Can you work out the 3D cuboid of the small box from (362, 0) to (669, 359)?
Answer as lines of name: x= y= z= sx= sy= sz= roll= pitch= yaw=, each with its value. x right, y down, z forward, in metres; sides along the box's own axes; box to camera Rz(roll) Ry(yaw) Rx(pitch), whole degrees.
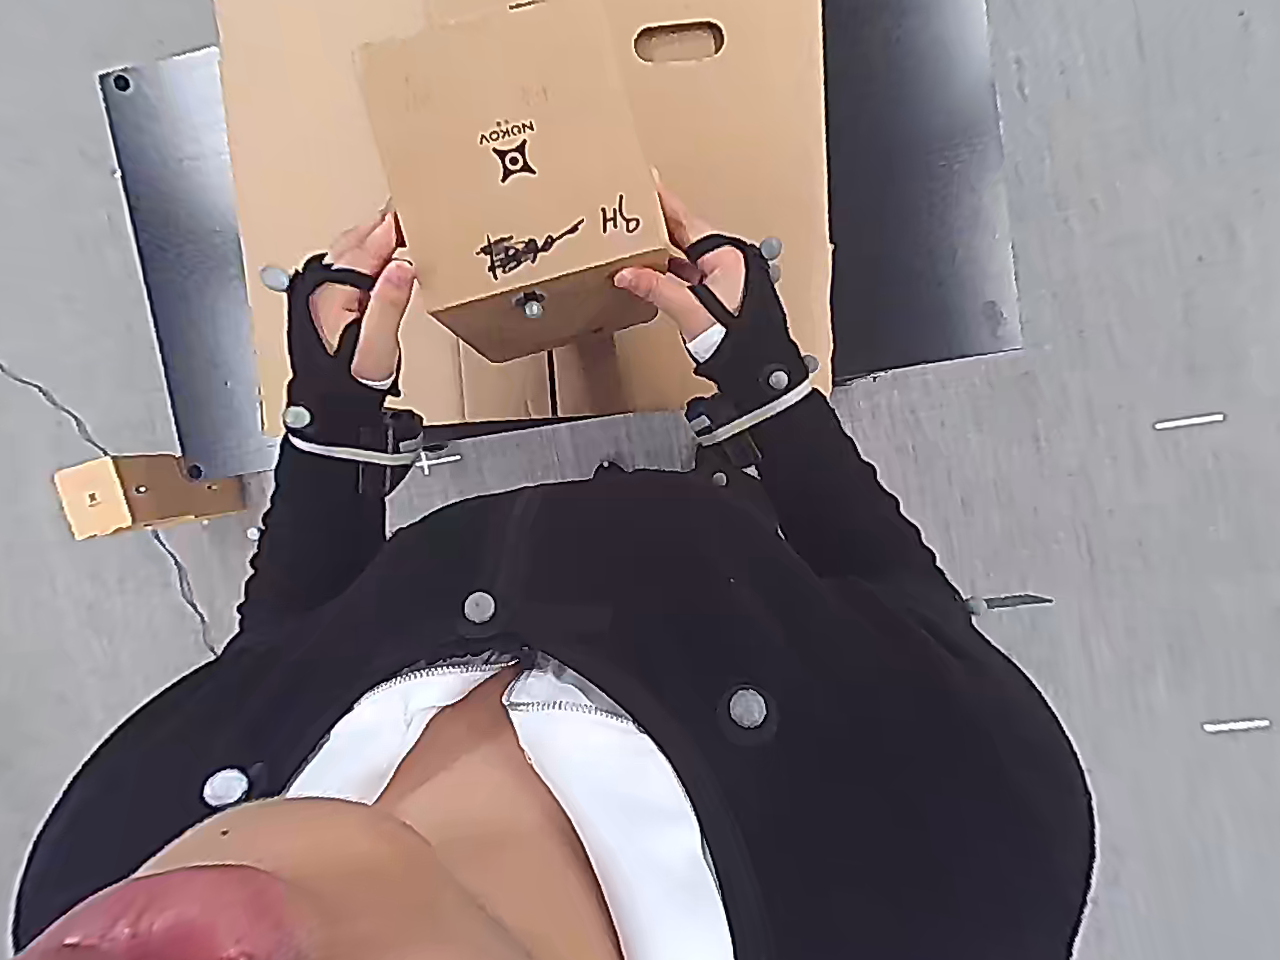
small box: x=-0.082 y=-0.214 z=0.428 sx=0.168 sy=0.176 sz=0.179 roll=-15 pitch=90 yaw=-1

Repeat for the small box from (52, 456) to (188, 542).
small box: x=-1.312 y=0.041 z=1.378 sx=0.168 sy=0.176 sz=0.179 roll=-16 pitch=92 yaw=6

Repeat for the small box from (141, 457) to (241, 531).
small box: x=-1.293 y=0.033 z=1.539 sx=0.168 sy=0.176 sz=0.179 roll=-12 pitch=94 yaw=7
